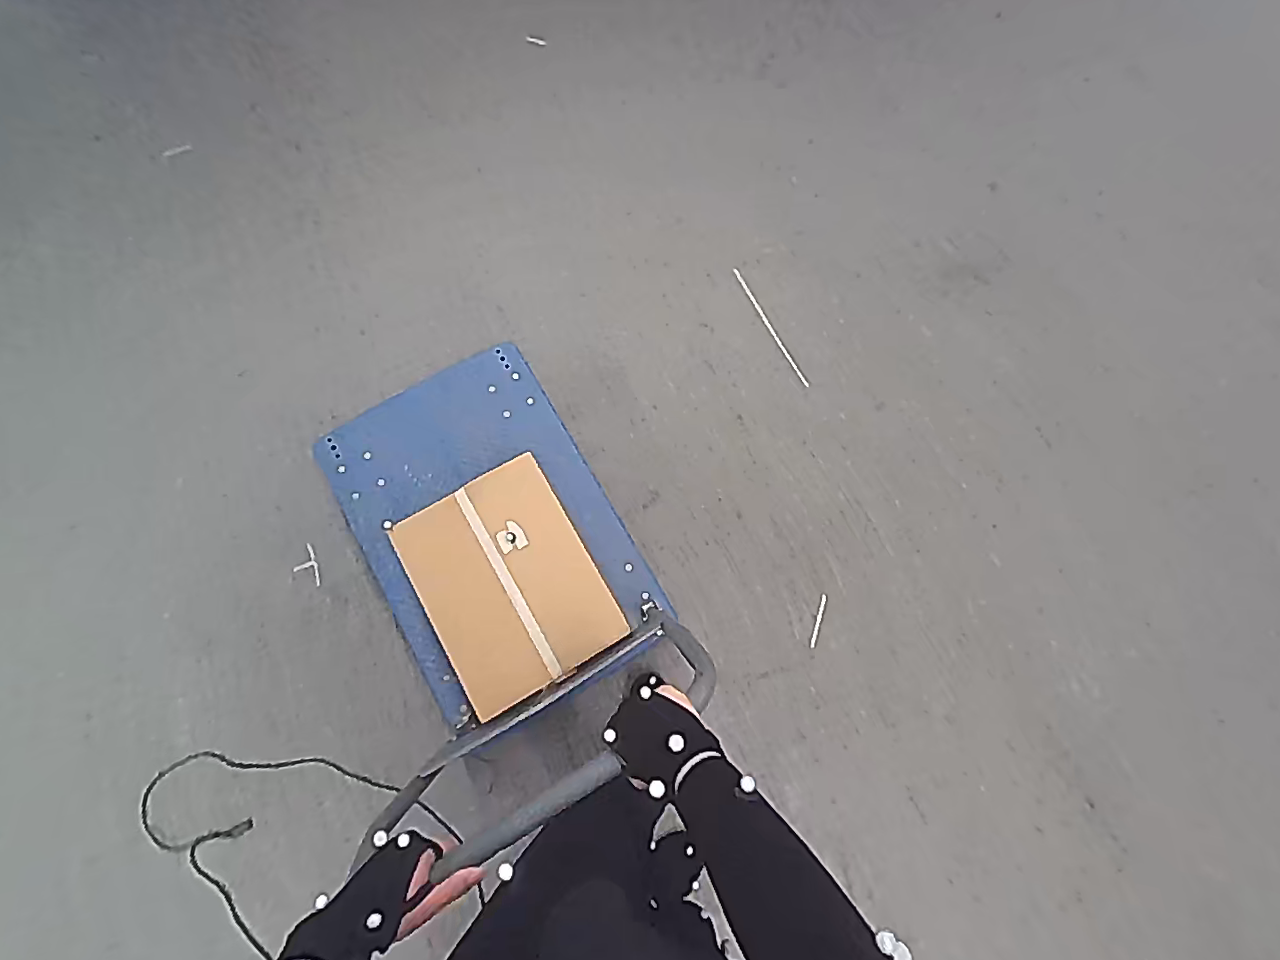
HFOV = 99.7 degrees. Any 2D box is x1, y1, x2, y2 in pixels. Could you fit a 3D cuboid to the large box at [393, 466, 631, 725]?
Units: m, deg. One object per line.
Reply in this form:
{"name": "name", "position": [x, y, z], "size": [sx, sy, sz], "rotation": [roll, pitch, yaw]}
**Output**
{"name": "large box", "position": [-0.250, 0.243, 1.178], "size": [0.320, 0.320, 0.408], "rotation": [-30, 79, -8]}
